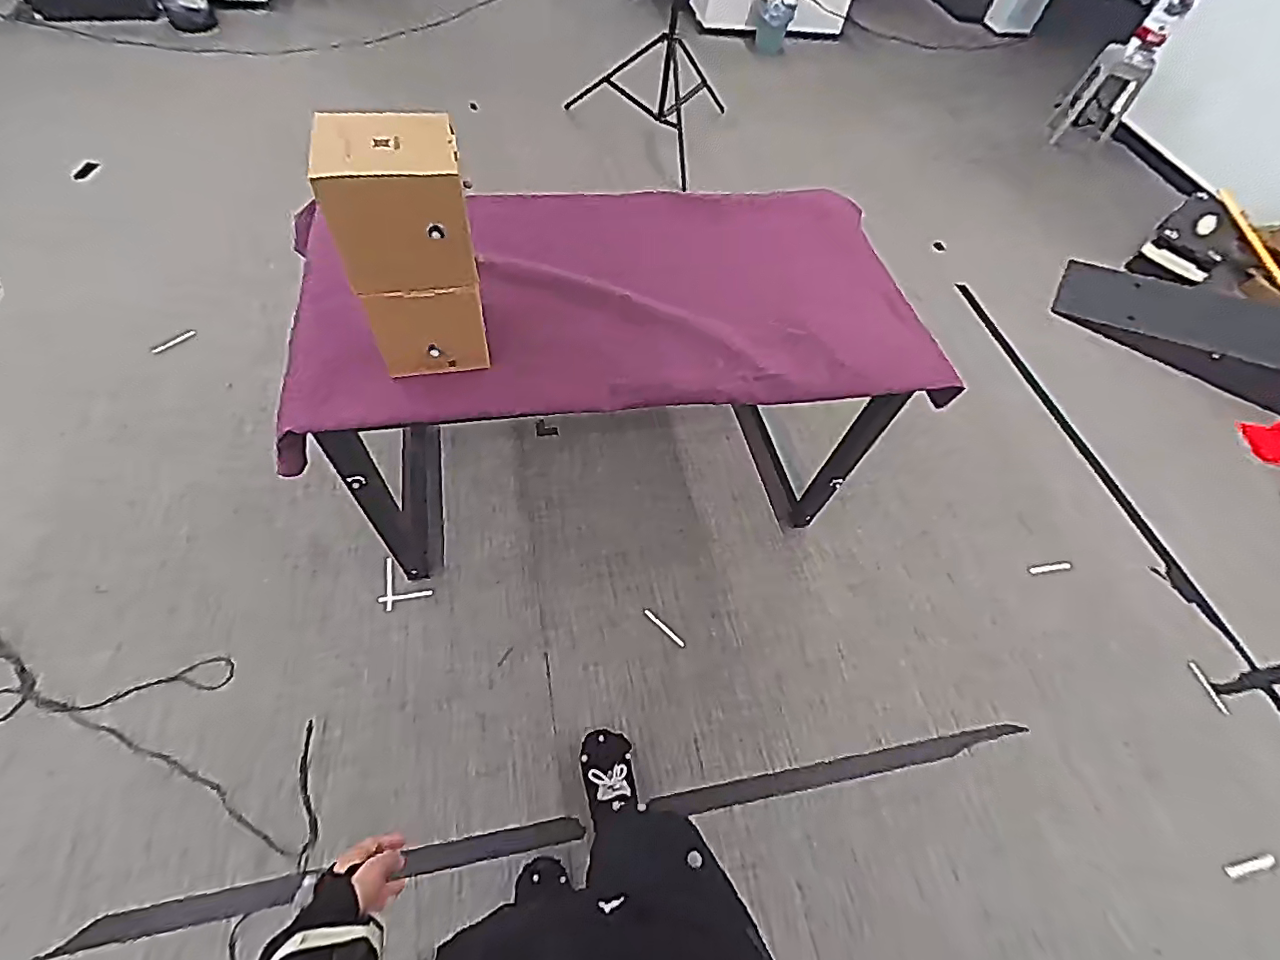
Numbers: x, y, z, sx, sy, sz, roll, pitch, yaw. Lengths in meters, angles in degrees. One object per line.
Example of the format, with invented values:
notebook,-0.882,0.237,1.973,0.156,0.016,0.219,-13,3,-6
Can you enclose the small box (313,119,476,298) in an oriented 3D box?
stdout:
small box,-0.336,-0.383,0.772,0.179,0.176,0.168,-10,58,-13

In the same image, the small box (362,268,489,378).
small box,-0.352,-0.296,0.907,0.168,0.176,0.179,-9,59,-12
